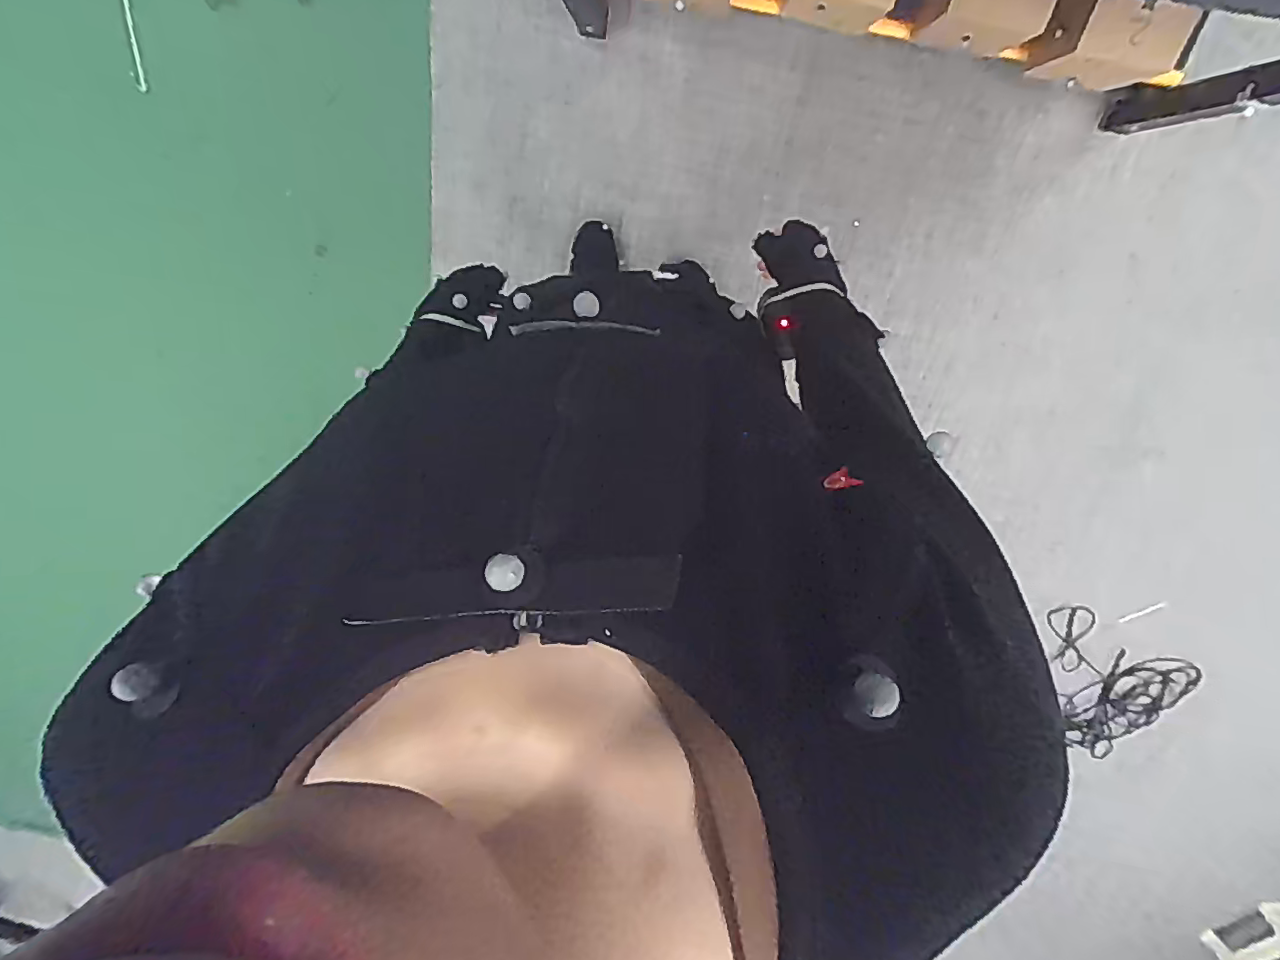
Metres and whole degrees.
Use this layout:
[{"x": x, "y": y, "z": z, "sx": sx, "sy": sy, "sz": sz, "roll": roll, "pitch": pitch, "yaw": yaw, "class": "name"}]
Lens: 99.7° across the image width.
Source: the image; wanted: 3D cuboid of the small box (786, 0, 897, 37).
[{"x": 0.356, "y": -0.887, "z": 0.912, "sx": 0.168, "sy": 0.176, "sz": 0.179, "roll": 11, "pitch": 116, "yaw": -2, "class": "small box"}]

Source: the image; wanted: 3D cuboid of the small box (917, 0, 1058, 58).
[{"x": 0.598, "y": -0.848, "z": 0.913, "sx": 0.168, "sy": 0.176, "sz": 0.179, "roll": 10, "pitch": 116, "yaw": 0, "class": "small box"}]
